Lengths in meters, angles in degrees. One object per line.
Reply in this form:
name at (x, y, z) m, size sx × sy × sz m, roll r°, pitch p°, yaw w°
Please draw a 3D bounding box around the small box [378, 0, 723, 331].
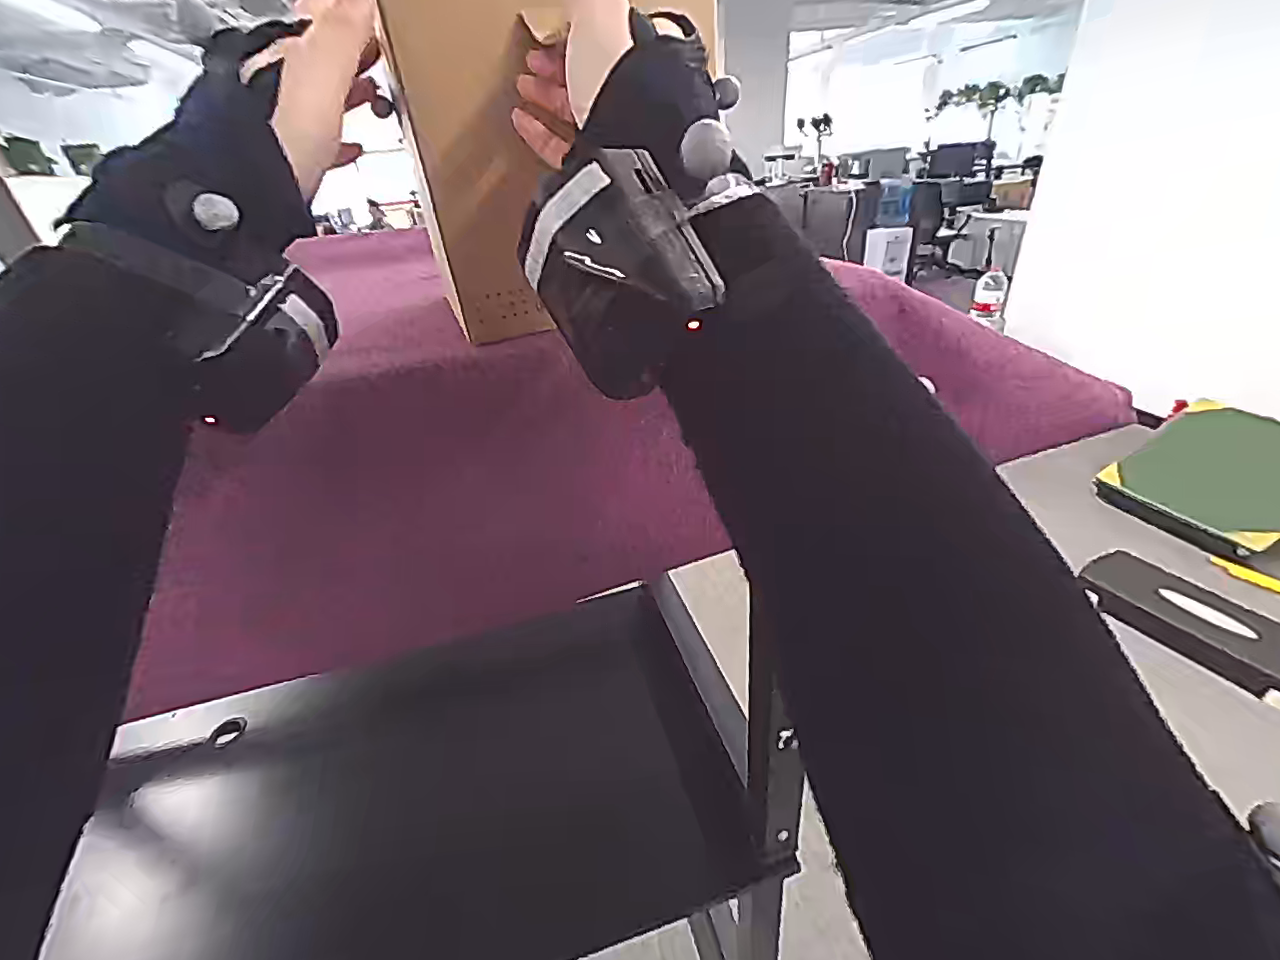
small box at (-0.058, -0.205, 0.354) m, size 0.168 × 0.176 × 0.179 m, roll -16°, pitch 32°, yaw -15°
